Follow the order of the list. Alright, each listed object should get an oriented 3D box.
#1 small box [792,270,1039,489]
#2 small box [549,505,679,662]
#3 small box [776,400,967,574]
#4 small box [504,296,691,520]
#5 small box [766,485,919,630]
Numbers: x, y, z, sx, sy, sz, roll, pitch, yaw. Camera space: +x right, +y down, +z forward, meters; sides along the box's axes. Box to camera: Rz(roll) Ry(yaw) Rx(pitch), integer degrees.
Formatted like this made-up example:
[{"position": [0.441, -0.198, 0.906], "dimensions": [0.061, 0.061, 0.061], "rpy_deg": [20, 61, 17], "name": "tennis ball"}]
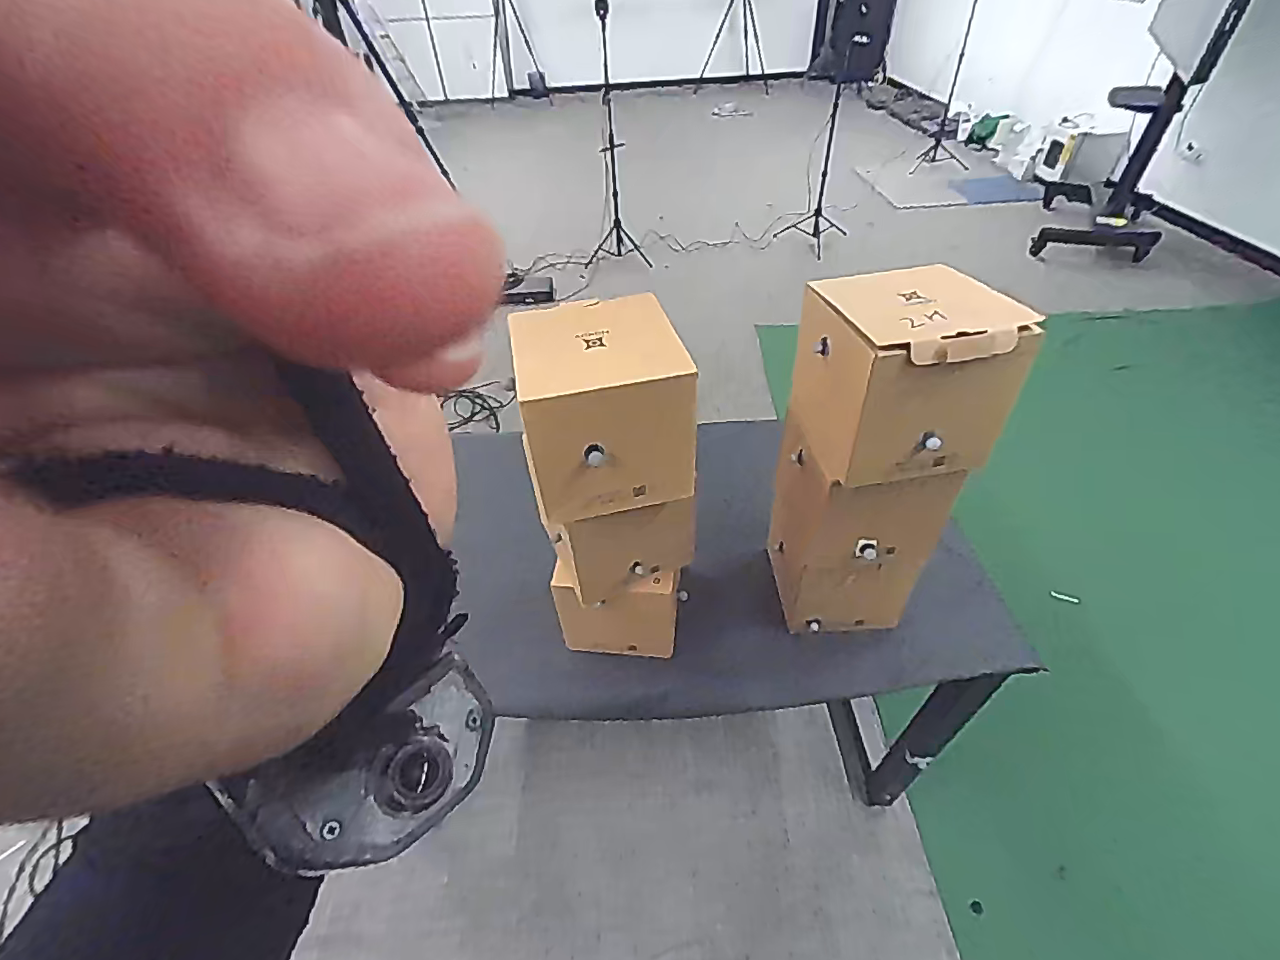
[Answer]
[{"position": [0.283, -0.115, 0.608], "dimensions": [0.168, 0.176, 0.179], "rpy_deg": [-9, 42, -3], "name": "small box"}, {"position": [-0.029, 0.152, 0.828], "dimensions": [0.168, 0.176, 0.179], "rpy_deg": [3, 43, 7], "name": "small box"}, {"position": [0.289, 0.002, 0.726], "dimensions": [0.168, 0.176, 0.179], "rpy_deg": [-7, 43, -1], "name": "small box"}, {"position": [-0.045, -0.074, 0.590], "dimensions": [0.168, 0.176, 0.179], "rpy_deg": [-11, 44, -8], "name": "small box"}, {"position": [0.298, 0.119, 0.838], "dimensions": [0.168, 0.176, 0.179], "rpy_deg": [-3, 41, 1], "name": "small box"}]
